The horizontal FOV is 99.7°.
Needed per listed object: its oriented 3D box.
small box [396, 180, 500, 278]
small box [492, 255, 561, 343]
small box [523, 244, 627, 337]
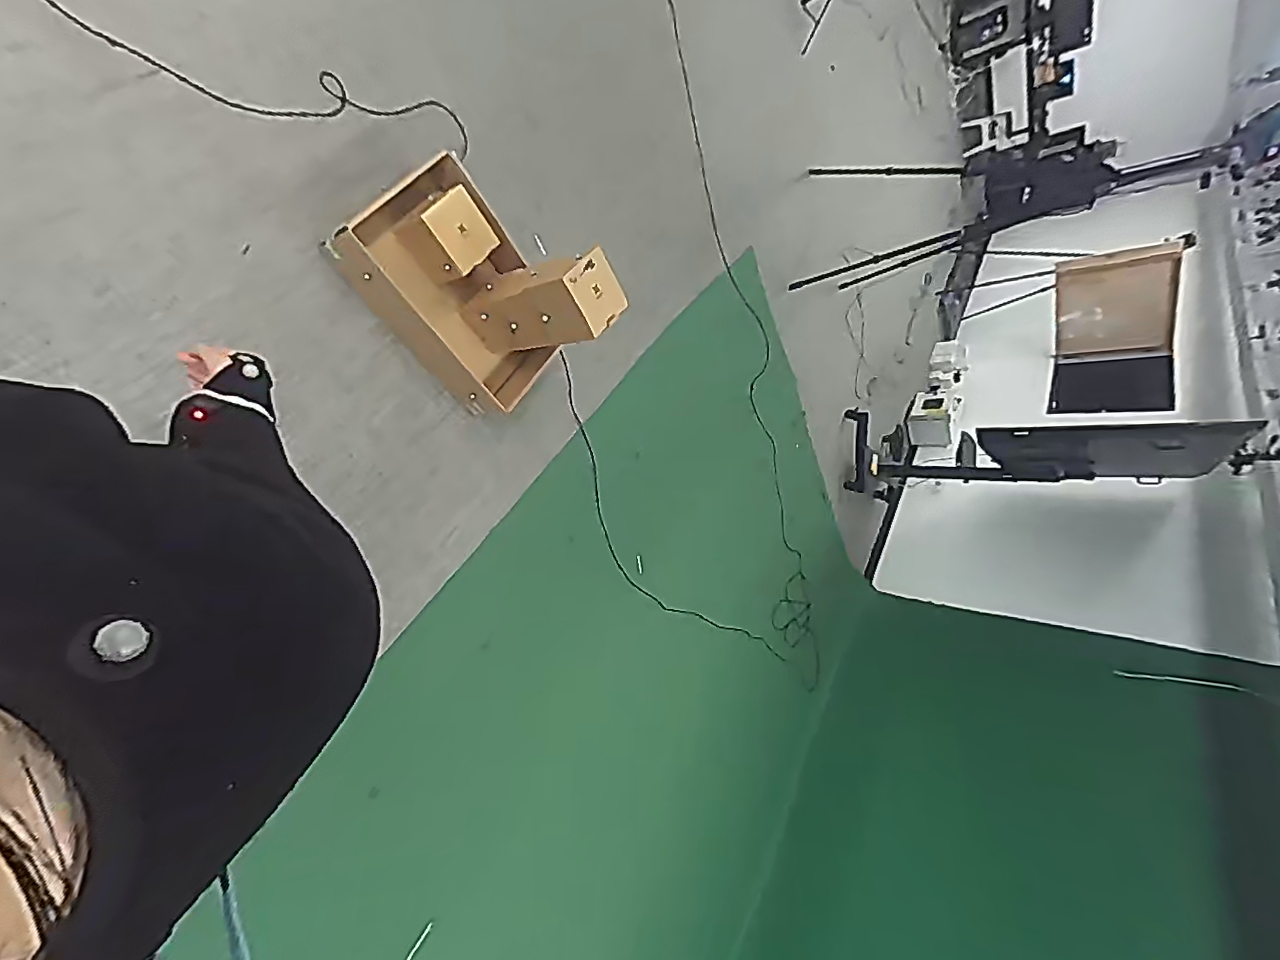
[{"bbox_3d":[-0.534,-0.687,1.498,0.168,0.176,0.179,-58,133,-26],"label":"small box"},{"bbox_3d":[-0.288,-0.514,1.549,0.179,0.176,0.168,-57,131,-28],"label":"small box"},{"bbox_3d":[-0.171,-0.494,1.433,0.168,0.176,0.179,-54,130,-31],"label":"small box"}]
